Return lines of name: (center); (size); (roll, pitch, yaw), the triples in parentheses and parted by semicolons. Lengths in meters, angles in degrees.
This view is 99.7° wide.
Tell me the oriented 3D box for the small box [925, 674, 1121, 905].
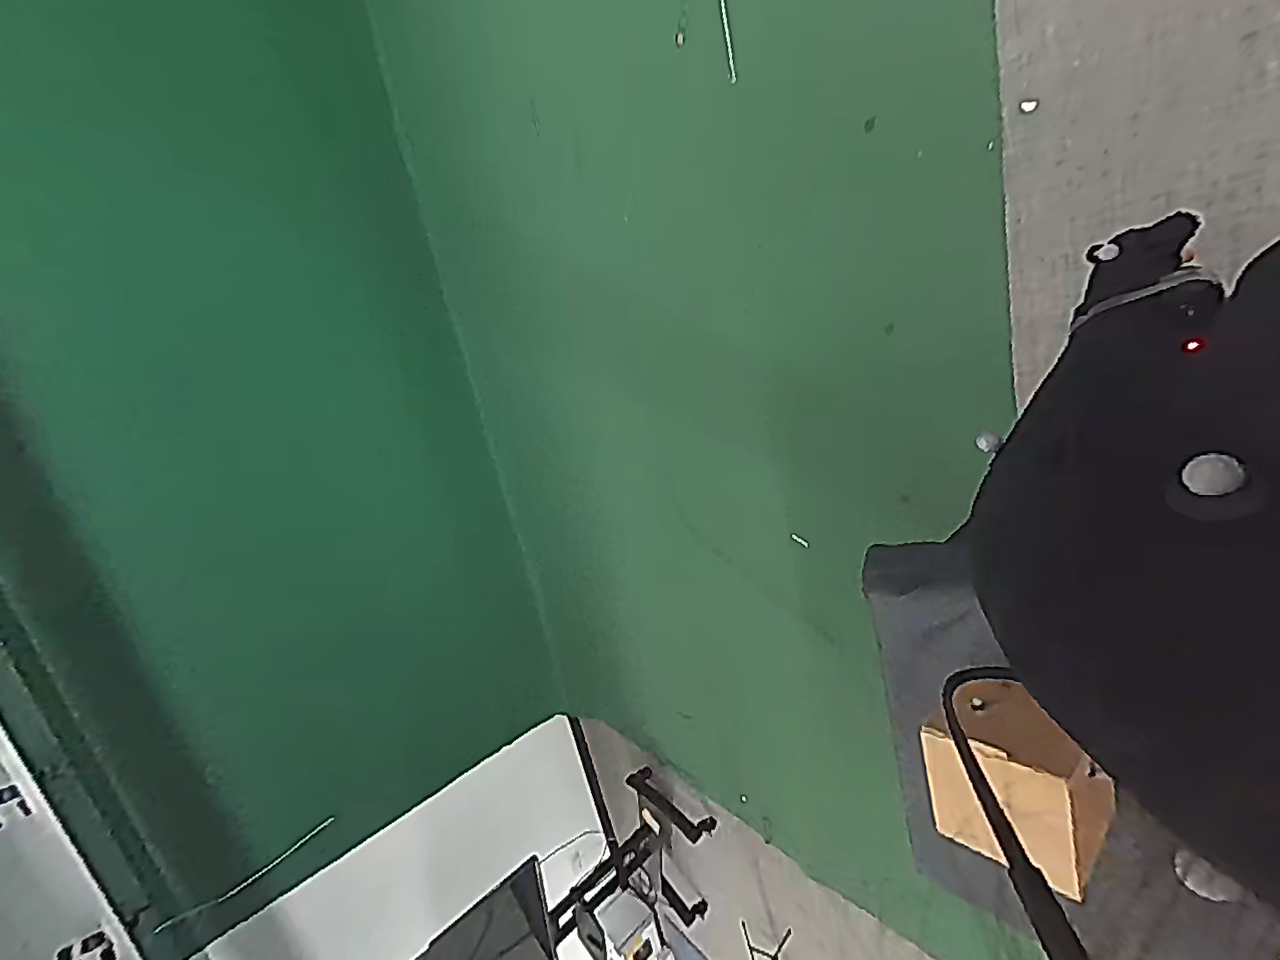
small box: (0.515, 0.394, 0.727); (0.168, 0.176, 0.179); (-1, 109, 54)
